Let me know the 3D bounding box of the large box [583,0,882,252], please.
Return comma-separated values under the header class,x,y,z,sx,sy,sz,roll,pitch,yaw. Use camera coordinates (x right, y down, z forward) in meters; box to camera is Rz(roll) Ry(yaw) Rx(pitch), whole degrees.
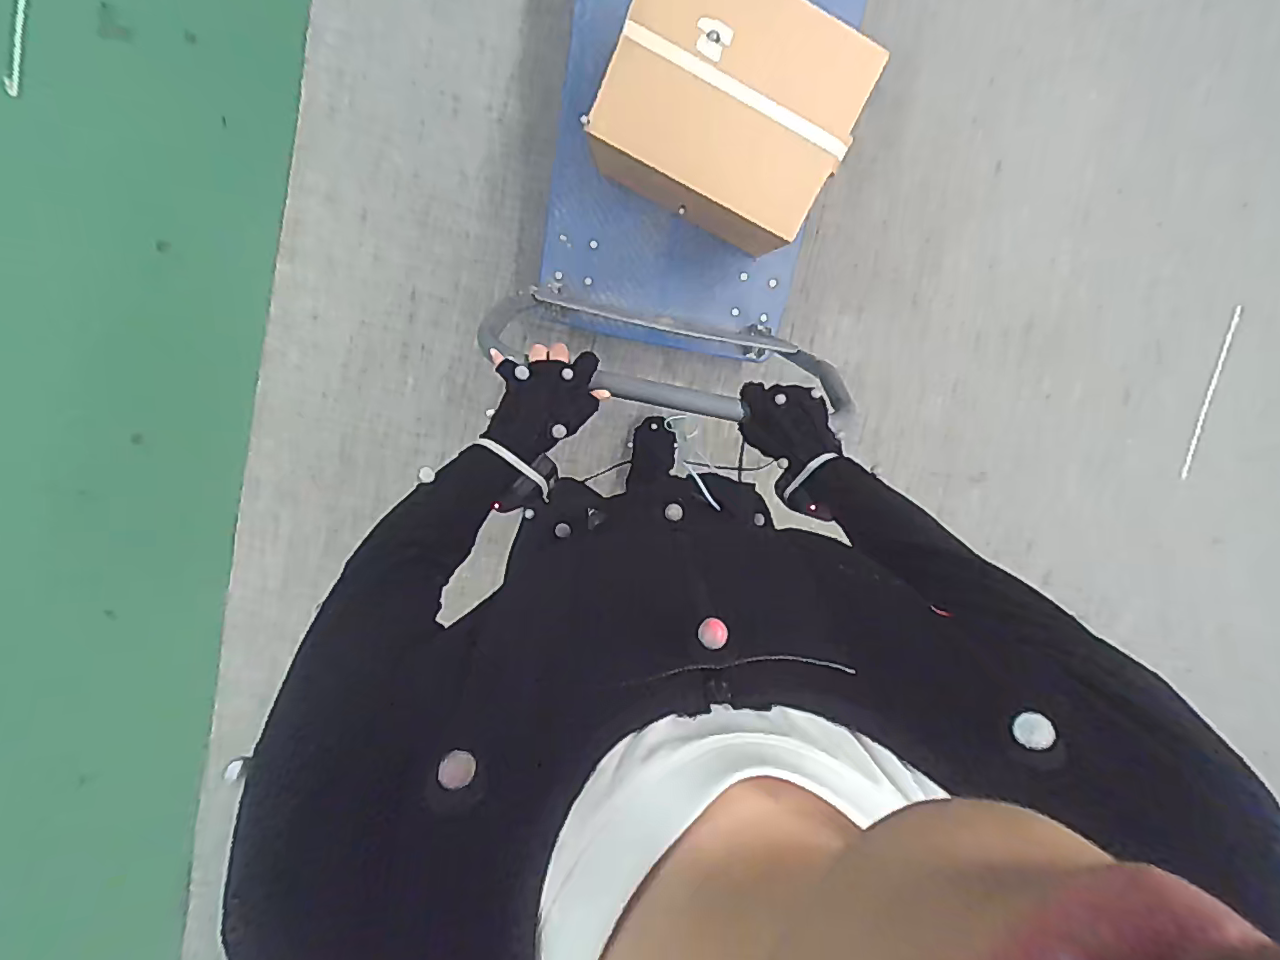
class,x,y,z,sx,sy,sz,roll,pitch,yaw
large box,0.151,-0.676,1.025,0.408,0.320,0.320,26,107,-7
